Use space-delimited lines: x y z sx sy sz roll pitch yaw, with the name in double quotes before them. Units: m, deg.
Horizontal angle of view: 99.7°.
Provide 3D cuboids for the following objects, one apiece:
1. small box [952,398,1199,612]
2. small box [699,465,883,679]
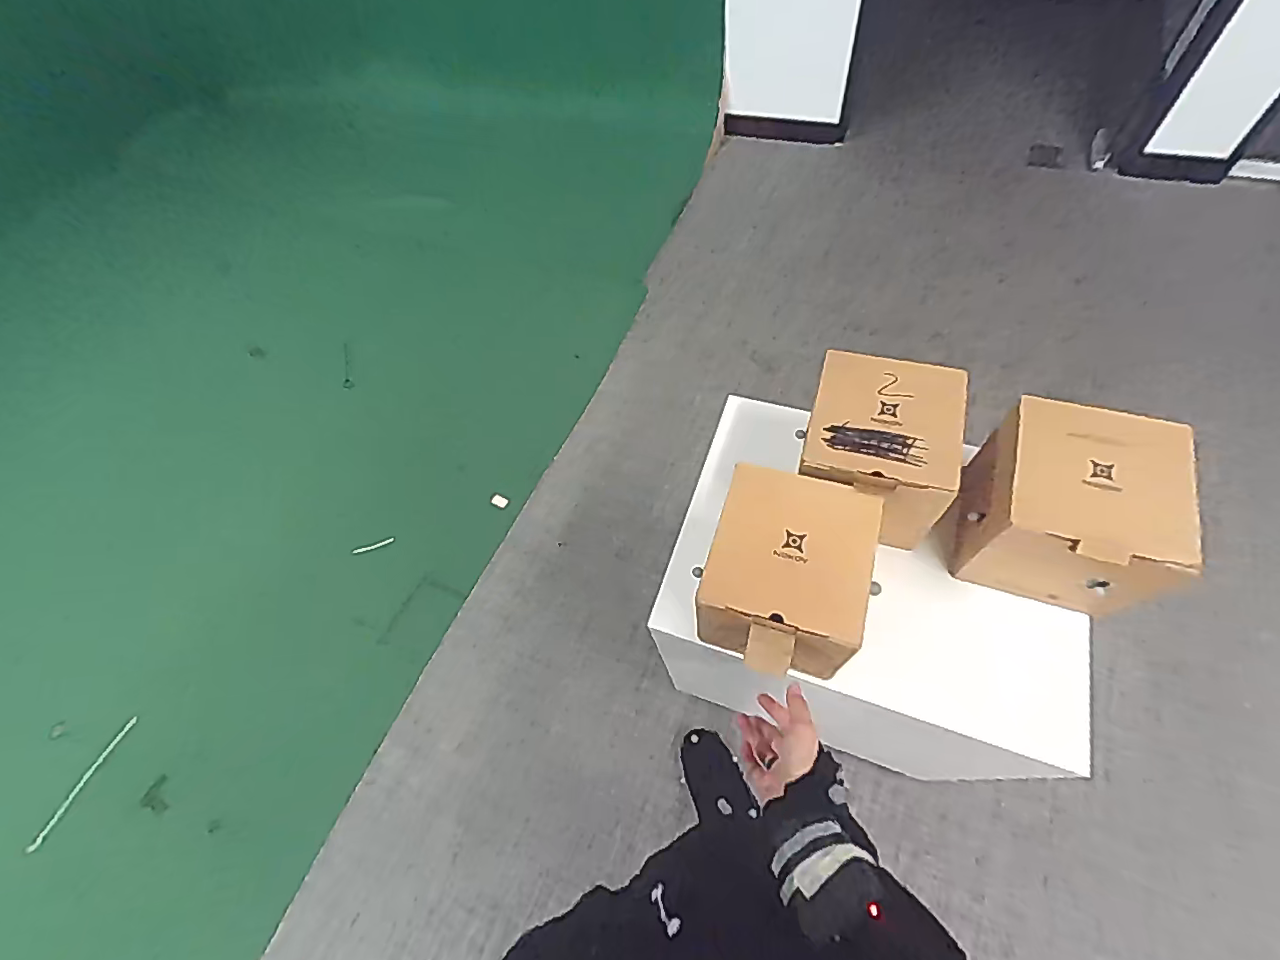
"small box" 0.488 0.036 0.634 0.168 0.176 0.179 15 64 15
"small box" 0.169 0.113 0.637 0.168 0.176 0.179 13 63 14
